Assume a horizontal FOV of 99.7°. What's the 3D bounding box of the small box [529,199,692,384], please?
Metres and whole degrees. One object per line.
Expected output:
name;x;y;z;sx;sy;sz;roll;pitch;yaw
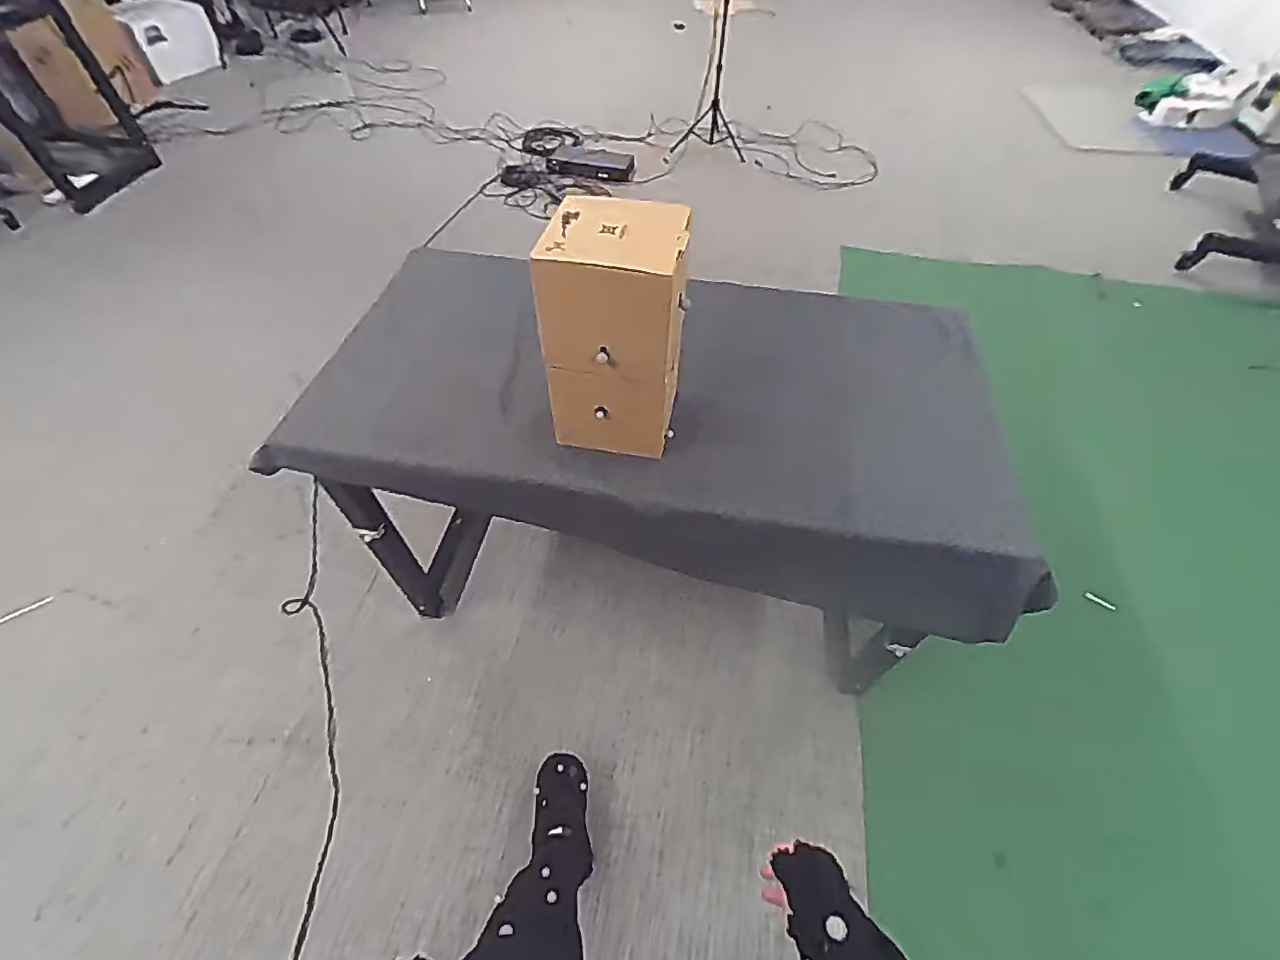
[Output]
small box;-0.033;-0.254;0.743;0.179;0.176;0.168;10;53;6

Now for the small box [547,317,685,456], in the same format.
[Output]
small box;-0.034;-0.159;0.873;0.179;0.176;0.168;11;51;8
